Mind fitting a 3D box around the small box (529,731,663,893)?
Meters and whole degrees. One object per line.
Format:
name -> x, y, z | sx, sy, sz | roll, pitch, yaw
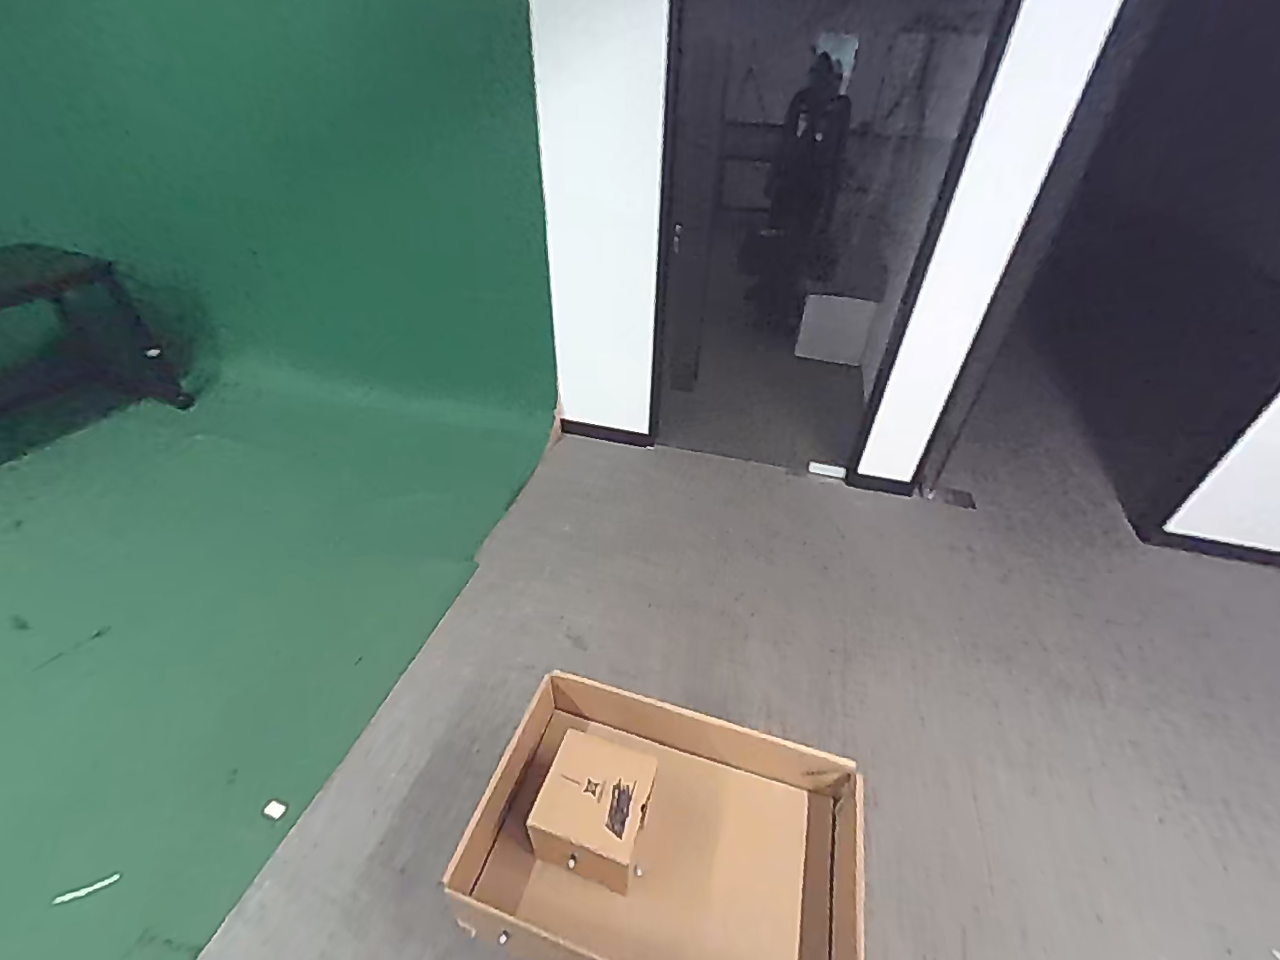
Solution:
small box -> -0.070, 0.578, 0.937 | 0.179, 0.176, 0.168 | 13, 39, 14
